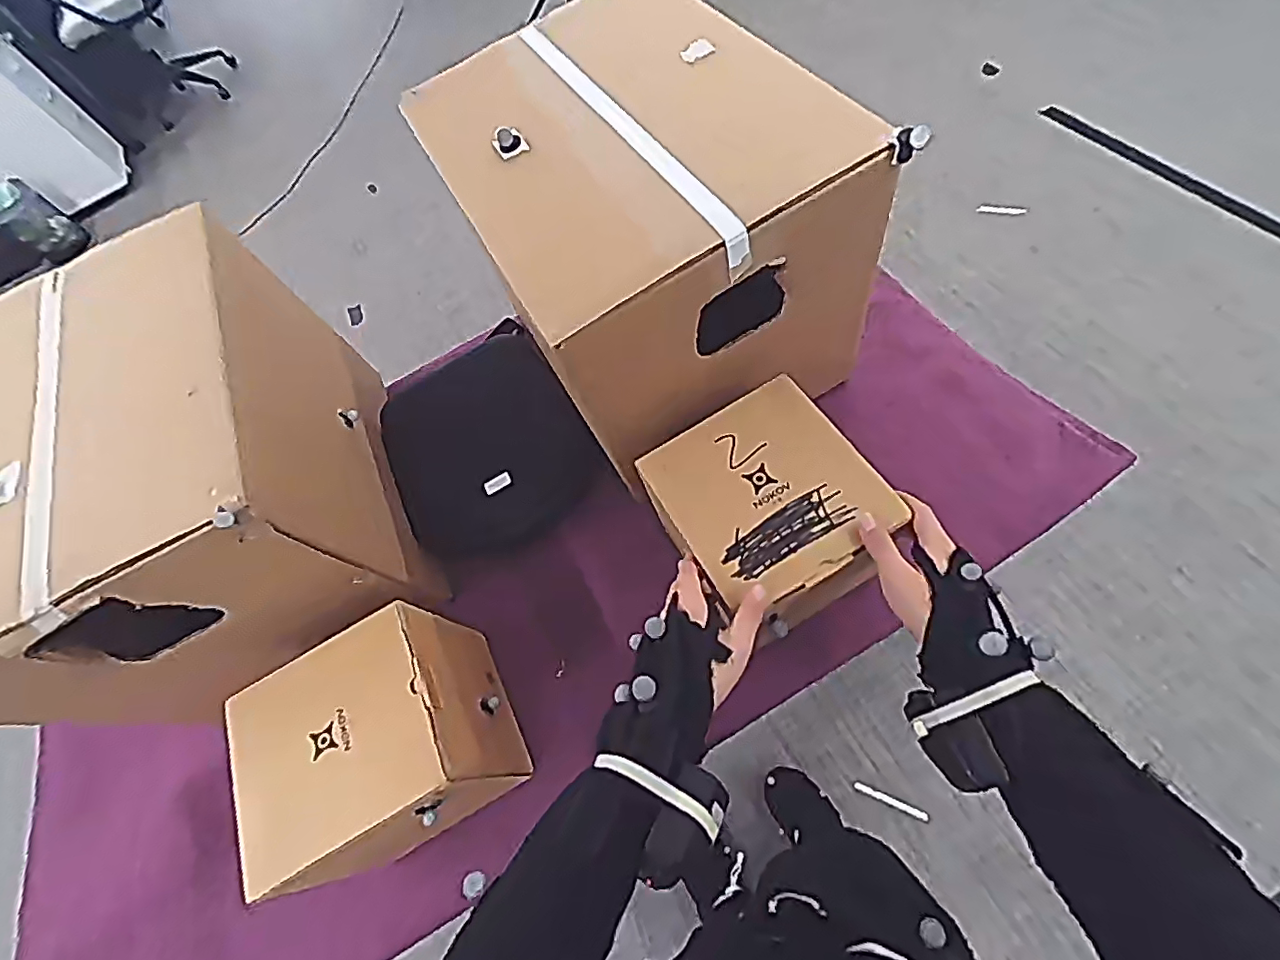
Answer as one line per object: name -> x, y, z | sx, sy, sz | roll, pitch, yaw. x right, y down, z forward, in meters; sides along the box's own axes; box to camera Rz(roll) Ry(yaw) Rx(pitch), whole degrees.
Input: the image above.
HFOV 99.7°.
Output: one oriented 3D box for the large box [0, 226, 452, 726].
large box -> -0.476, 0.012, 0.616 | 0.320, 0.320, 0.408 | -30, 65, -2
